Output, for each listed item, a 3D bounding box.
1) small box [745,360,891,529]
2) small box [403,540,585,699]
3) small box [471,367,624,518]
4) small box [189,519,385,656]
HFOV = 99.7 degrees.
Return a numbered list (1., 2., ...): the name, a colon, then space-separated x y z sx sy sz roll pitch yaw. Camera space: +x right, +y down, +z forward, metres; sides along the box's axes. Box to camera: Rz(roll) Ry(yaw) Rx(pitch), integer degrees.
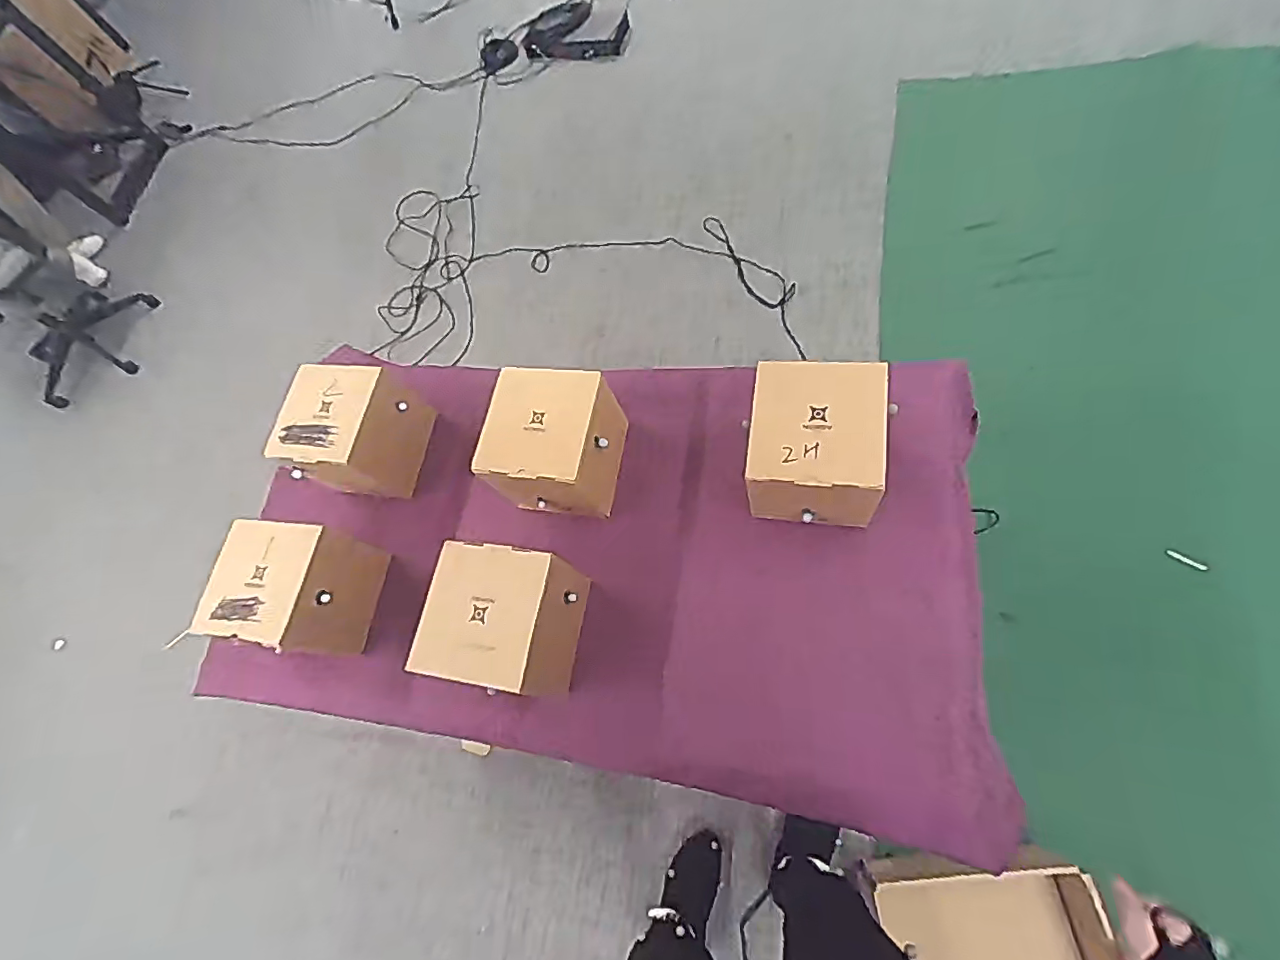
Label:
1. small box: 0.242 -0.046 0.748 0.168 0.176 0.179 5 71 17
2. small box: -0.189 0.200 0.759 0.168 0.176 0.179 5 69 17
3. small box: -0.131 -0.055 0.848 0.168 0.176 0.179 6 72 15
4. small box: -0.538 0.175 0.853 0.168 0.176 0.179 3 68 15
